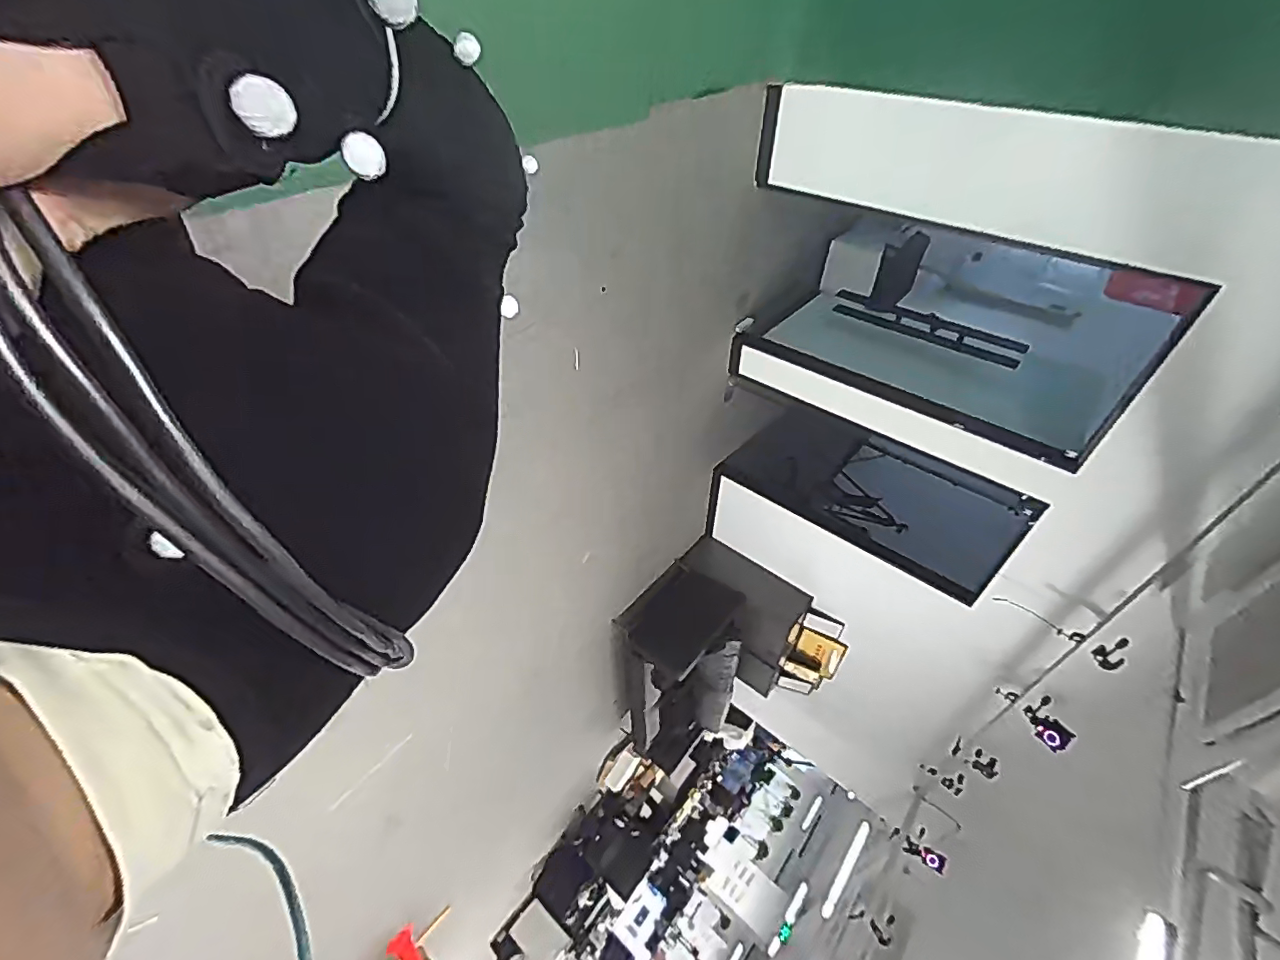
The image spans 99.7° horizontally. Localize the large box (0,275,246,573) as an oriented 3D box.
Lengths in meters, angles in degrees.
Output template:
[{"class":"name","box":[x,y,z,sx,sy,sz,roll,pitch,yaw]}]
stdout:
[{"class":"large box","box":[-1.032,-0.117,1.005,0.320,0.320,0.408,-33,144,-43]}]
